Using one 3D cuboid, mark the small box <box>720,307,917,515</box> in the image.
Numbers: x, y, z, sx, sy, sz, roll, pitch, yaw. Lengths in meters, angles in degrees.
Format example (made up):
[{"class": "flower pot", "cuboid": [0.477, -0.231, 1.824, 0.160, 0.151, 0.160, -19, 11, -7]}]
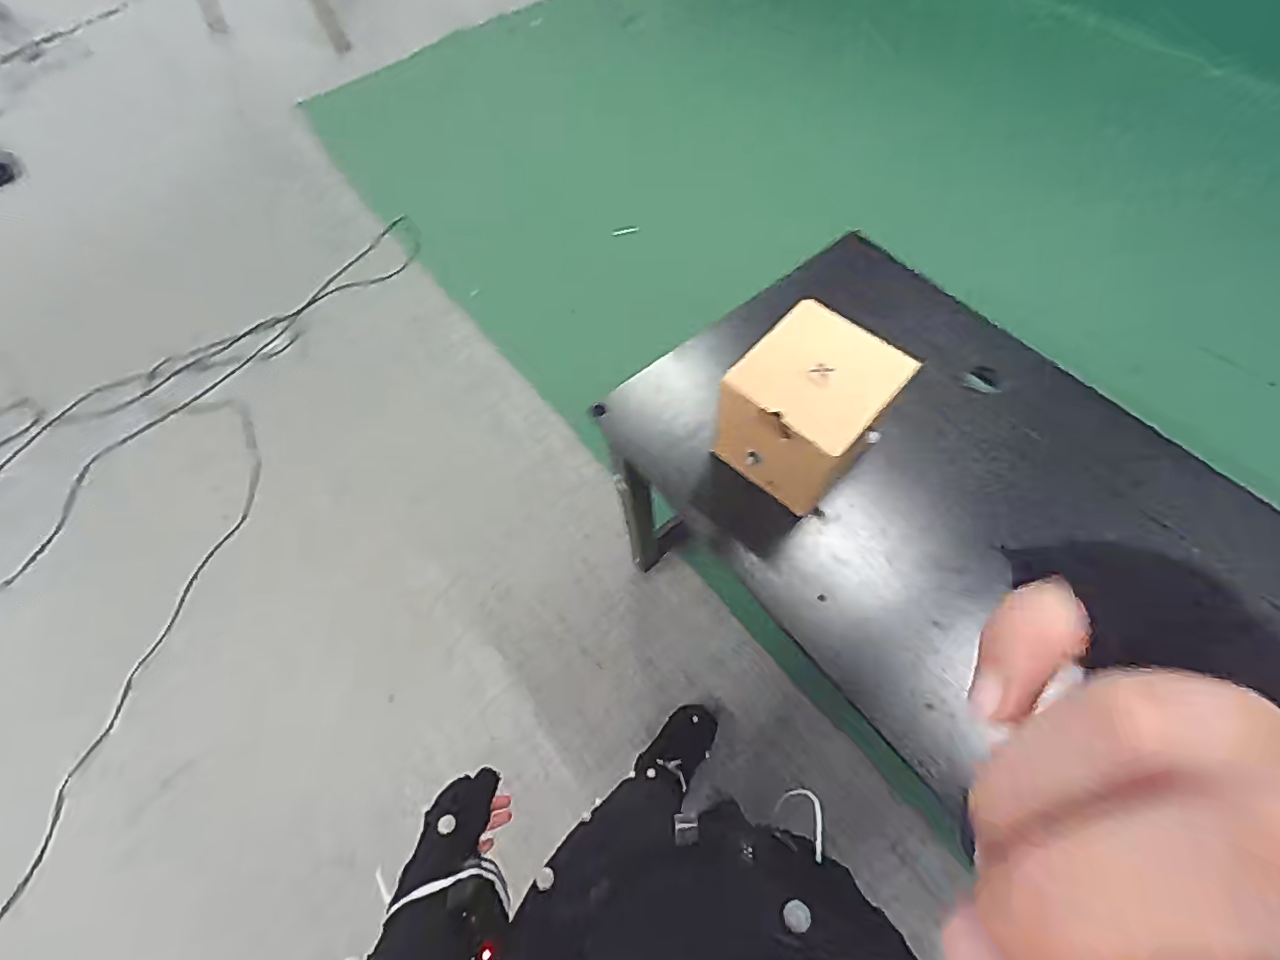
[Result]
[{"class": "small box", "cuboid": [0.222, -0.086, 0.722, 0.168, 0.176, 0.179, 40, 73, 20]}]
